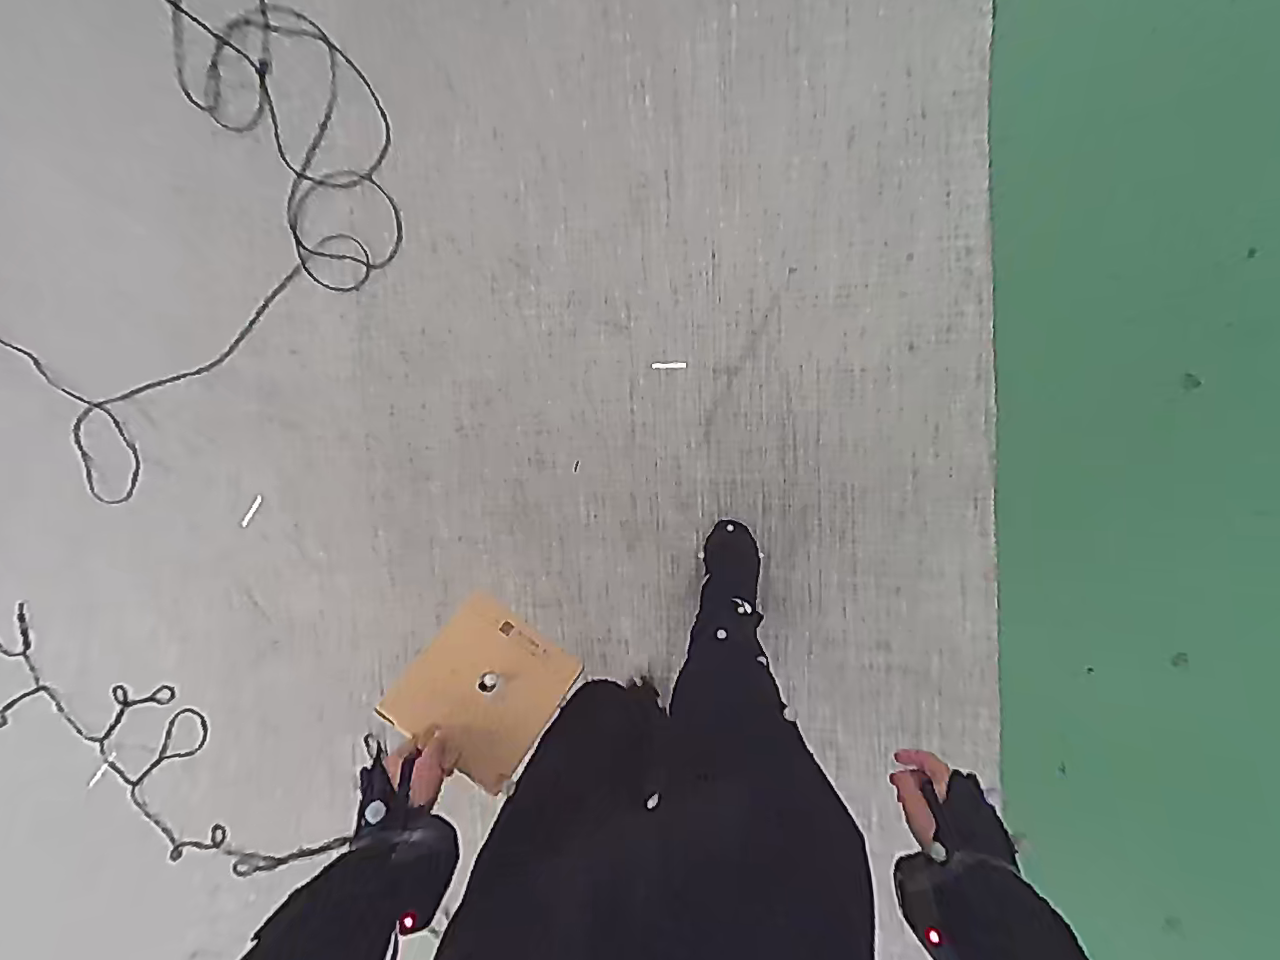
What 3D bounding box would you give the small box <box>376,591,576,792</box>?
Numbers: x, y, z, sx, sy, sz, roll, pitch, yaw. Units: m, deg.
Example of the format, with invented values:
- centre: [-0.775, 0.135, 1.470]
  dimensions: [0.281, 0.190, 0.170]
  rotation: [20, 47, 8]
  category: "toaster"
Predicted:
- centre: [-0.202, 0.265, 0.693]
  dimensions: [0.168, 0.179, 0.176]
  rotation: [37, 60, 0]
  category: "small box"
